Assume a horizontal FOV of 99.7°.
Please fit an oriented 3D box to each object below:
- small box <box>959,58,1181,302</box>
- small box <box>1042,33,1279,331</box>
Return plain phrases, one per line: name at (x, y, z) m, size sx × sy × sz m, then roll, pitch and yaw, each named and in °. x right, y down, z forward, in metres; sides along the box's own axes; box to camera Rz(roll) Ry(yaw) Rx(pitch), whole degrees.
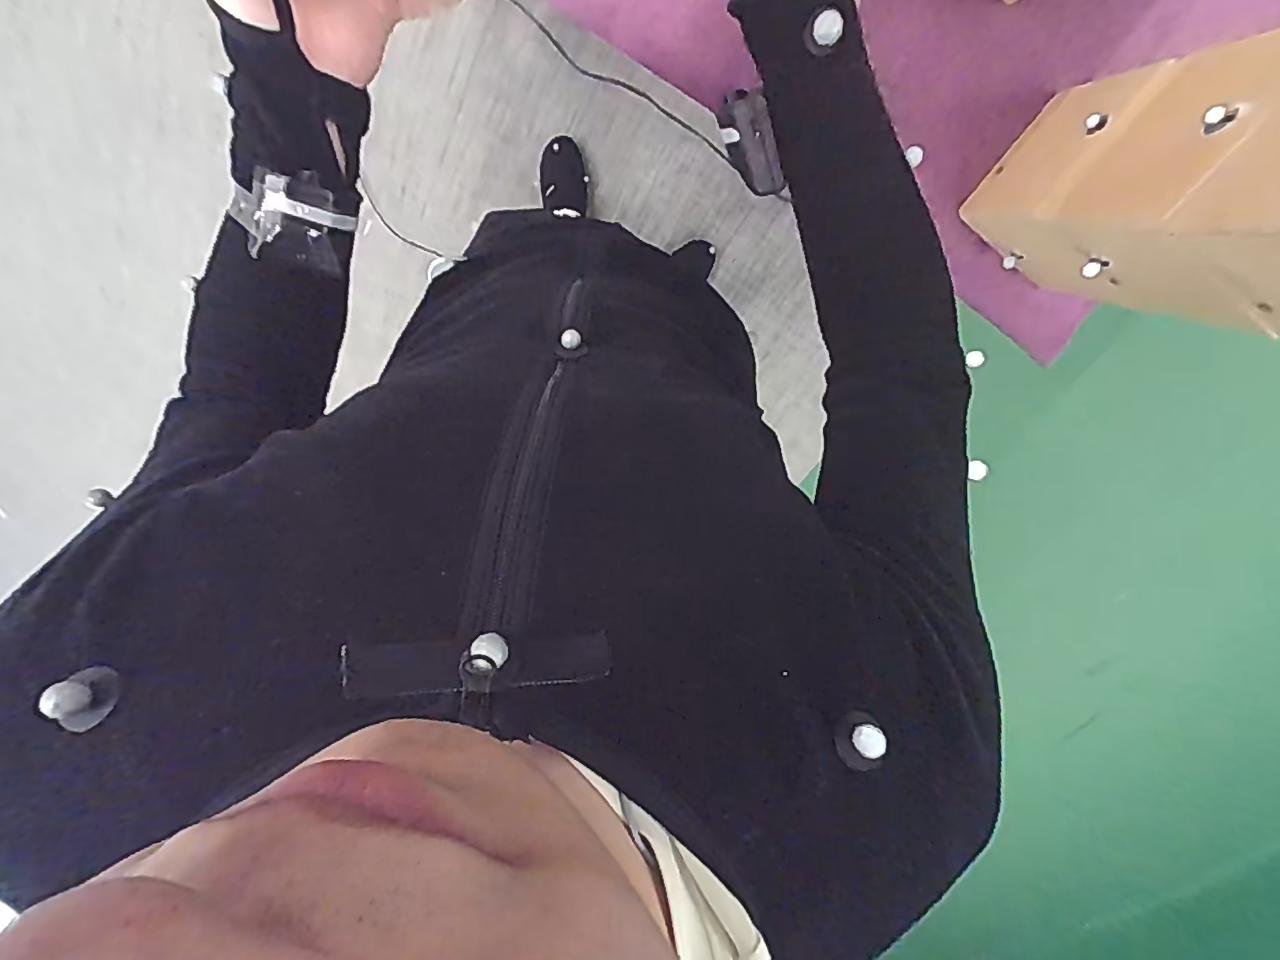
small box at (0.534, -0.343, 0.640) m, size 0.179 × 0.176 × 0.168 m, roll 31°, pitch 113°, yaw -14°
small box at (0.533, -0.270, 0.494) m, size 0.168 × 0.176 × 0.179 m, roll 32°, pitch 114°, yaw -13°
